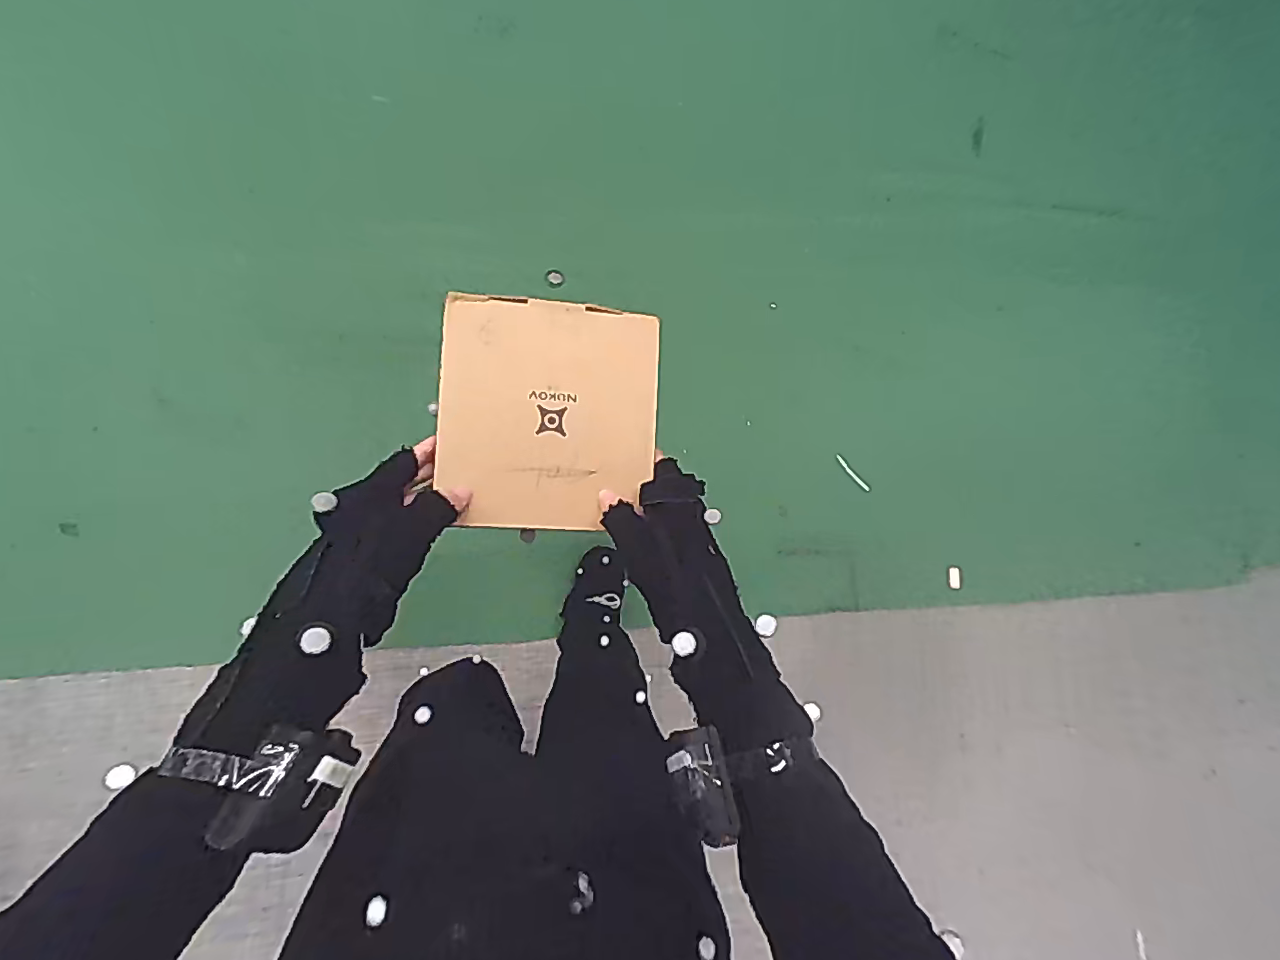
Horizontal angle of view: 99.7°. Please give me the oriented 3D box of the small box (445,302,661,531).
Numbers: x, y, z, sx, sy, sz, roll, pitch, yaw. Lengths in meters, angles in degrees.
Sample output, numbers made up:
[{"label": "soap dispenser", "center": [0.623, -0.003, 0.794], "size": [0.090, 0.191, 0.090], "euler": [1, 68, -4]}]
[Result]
[{"label": "small box", "center": [-0.082, -0.044, 0.506], "size": [0.168, 0.176, 0.179], "euler": [2, 87, -11]}]
